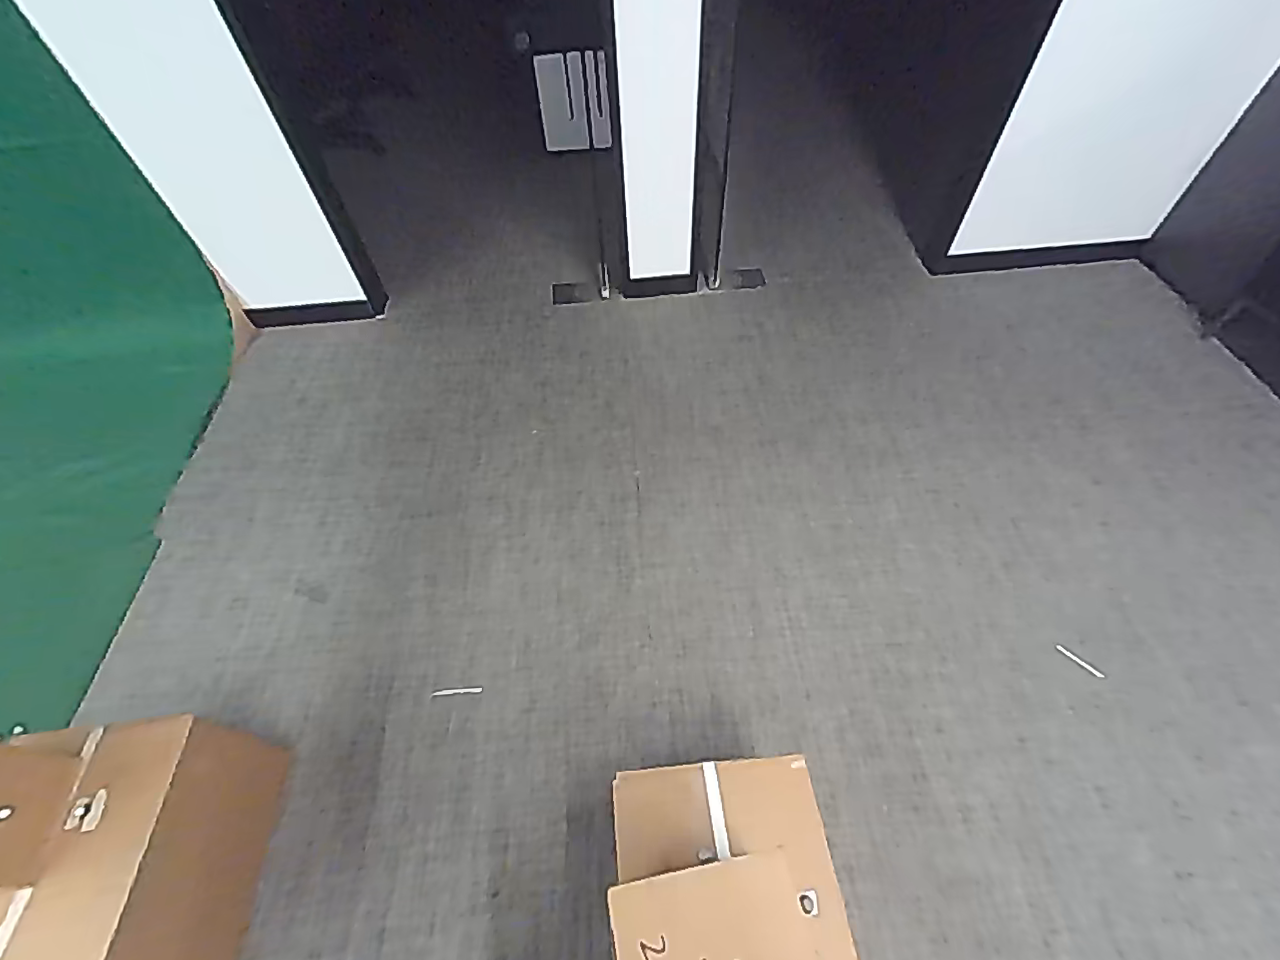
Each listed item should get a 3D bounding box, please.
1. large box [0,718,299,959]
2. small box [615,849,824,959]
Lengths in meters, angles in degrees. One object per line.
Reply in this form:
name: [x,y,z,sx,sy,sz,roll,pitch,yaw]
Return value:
large box: [-0.879,0.682,0.944,0.320,0.320,0.408,-7,53,-1]
small box: [0.080,0.478,0.526,0.179,0.176,0.168,-12,51,-3]
